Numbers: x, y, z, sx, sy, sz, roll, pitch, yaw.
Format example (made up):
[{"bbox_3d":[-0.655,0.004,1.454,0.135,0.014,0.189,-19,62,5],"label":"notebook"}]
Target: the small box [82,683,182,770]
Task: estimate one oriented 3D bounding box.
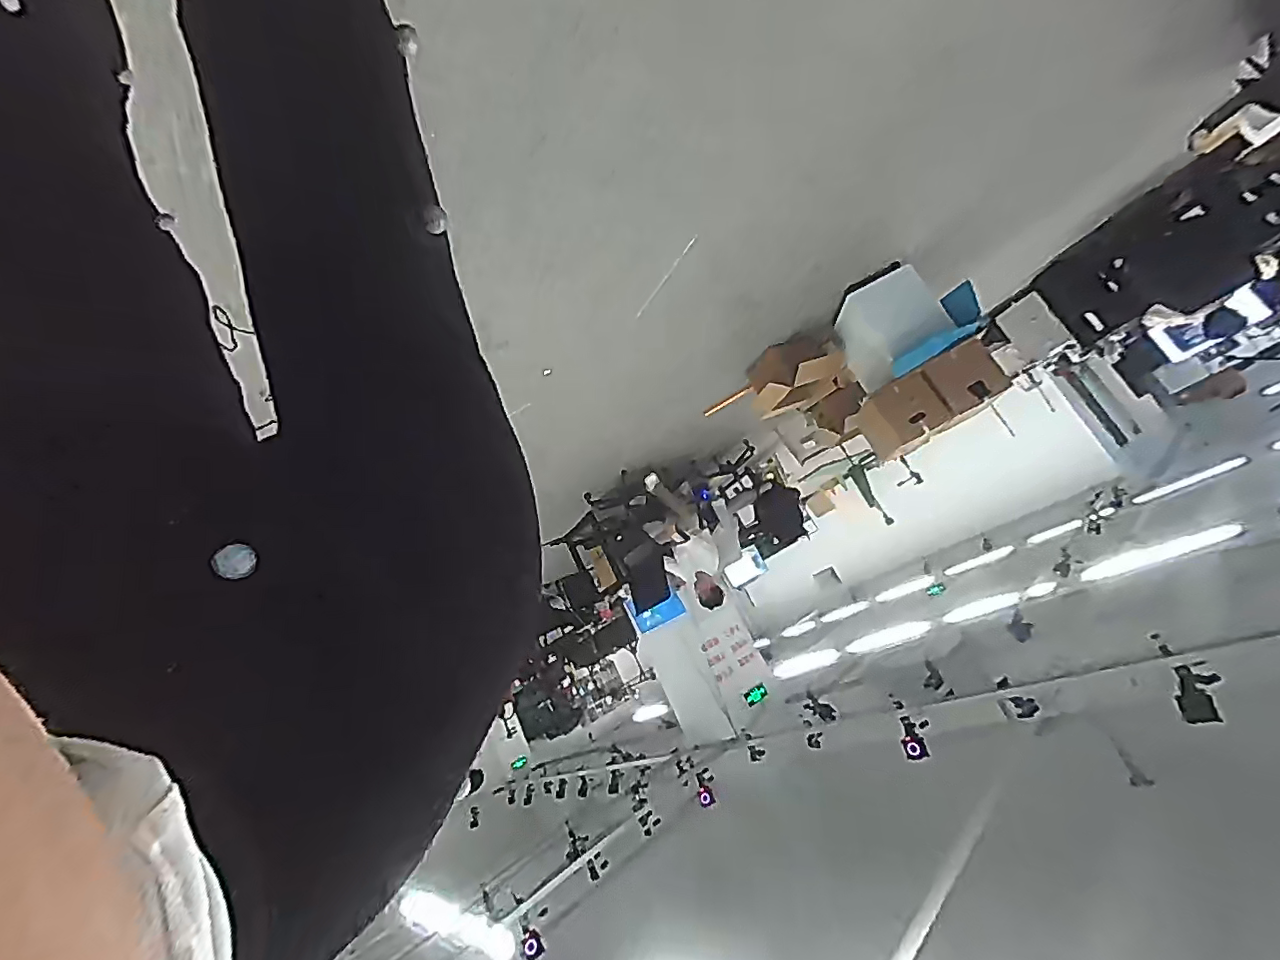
[{"bbox_3d":[-1.430,0.692,1.525,0.168,0.176,0.179,-15,163,-36],"label":"small box"}]
